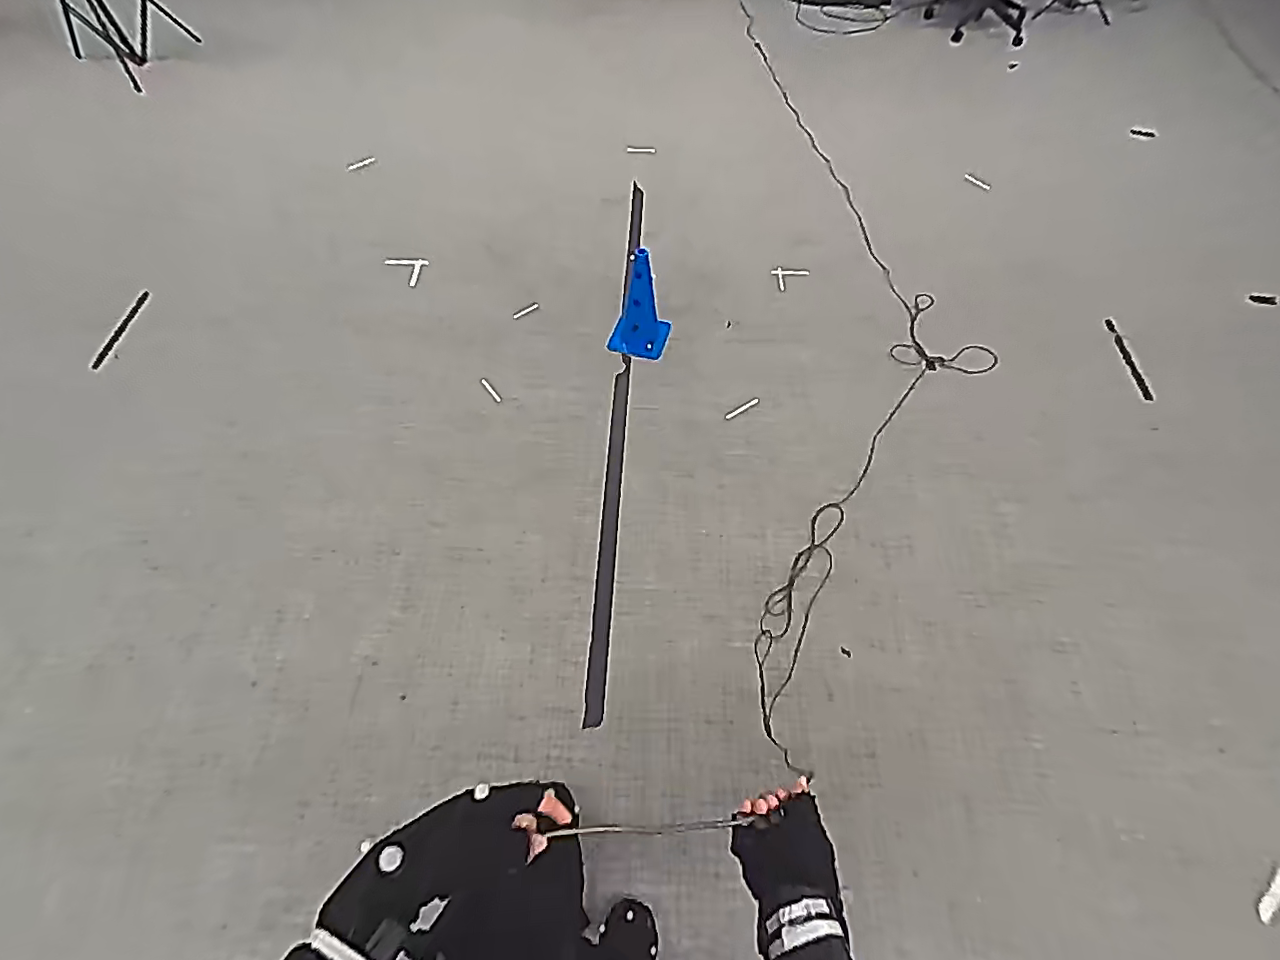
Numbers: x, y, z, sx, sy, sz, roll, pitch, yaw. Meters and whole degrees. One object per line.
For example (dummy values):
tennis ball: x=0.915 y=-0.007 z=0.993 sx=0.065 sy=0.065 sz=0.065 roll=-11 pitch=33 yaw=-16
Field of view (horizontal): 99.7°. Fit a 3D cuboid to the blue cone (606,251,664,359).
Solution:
blue cone: x=-0.013 y=-0.613 z=1.862 sx=0.192 sy=0.380 sz=0.193 roll=16 pitch=59 yaw=9
